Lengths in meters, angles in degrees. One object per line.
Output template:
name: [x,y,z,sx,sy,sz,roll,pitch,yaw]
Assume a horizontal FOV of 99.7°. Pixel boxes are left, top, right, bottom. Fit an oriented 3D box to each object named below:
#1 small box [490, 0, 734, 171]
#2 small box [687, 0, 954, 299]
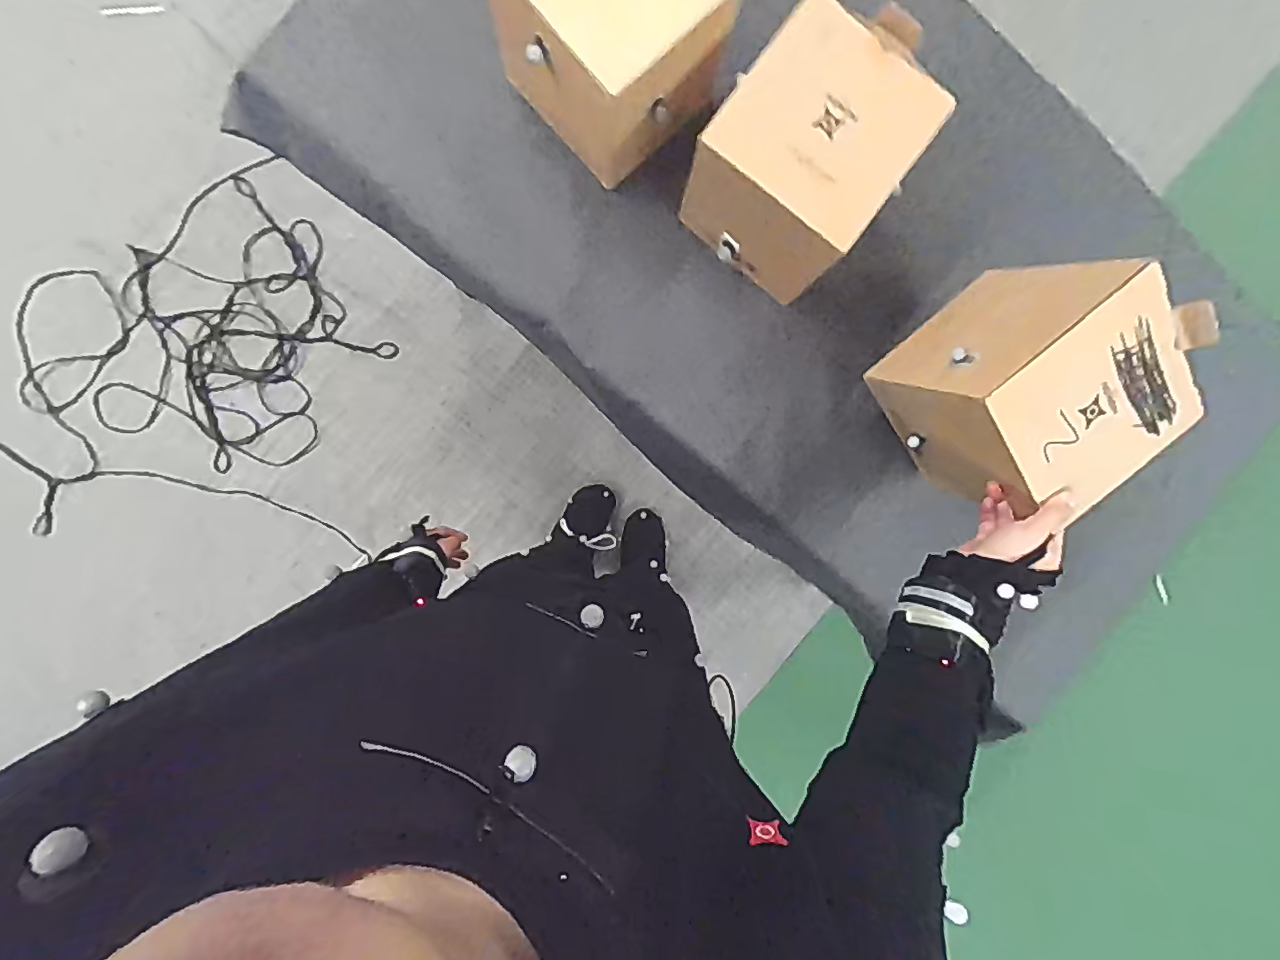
small box: [-0.028,-0.449,0.539,0.168,0.176,0.179,-44,94,-2]
small box: [0.164,-0.323,0.558,0.168,0.176,0.179,36,89,-3]
